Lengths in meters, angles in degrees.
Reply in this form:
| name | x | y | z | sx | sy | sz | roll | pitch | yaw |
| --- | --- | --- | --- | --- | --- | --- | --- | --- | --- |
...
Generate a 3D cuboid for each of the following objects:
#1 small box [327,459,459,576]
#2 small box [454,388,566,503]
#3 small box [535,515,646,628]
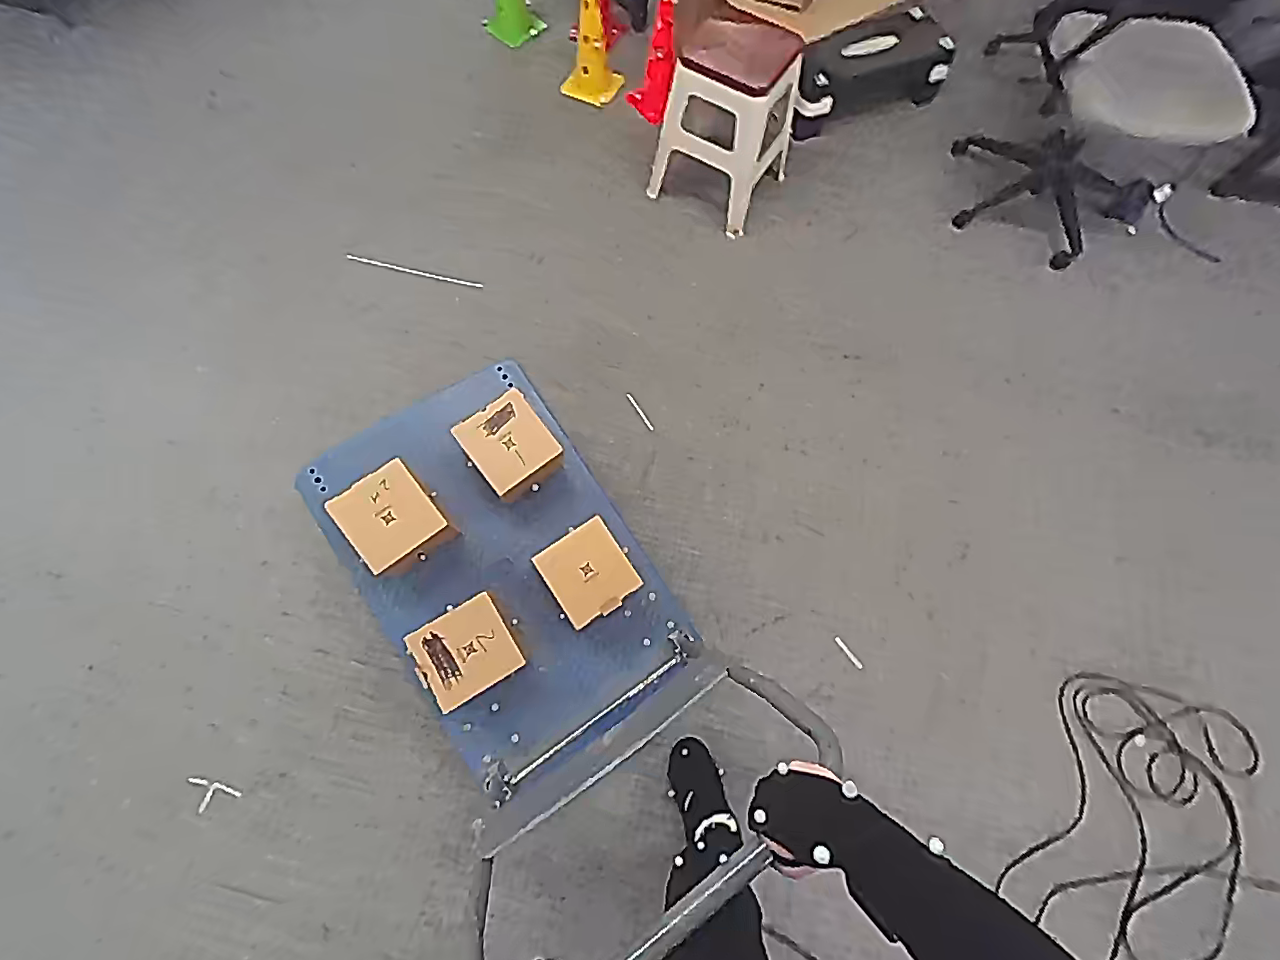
| name | x | y | z | sx | sy | sz | roll | pitch | yaw |
| --- | --- | --- | --- | --- | --- | --- | --- | --- | --- |
| small box | -0.504 | 0.083 | 1.135 | 0.168 | 0.176 | 0.179 | -37 | 87 | -15 |
| small box | -0.283 | -0.069 | 1.200 | 0.168 | 0.176 | 0.179 | -37 | 87 | -13 |
| small box | -0.113 | 0.200 | 1.176 | 0.168 | 0.176 | 0.179 | -33 | 87 | -13 |
